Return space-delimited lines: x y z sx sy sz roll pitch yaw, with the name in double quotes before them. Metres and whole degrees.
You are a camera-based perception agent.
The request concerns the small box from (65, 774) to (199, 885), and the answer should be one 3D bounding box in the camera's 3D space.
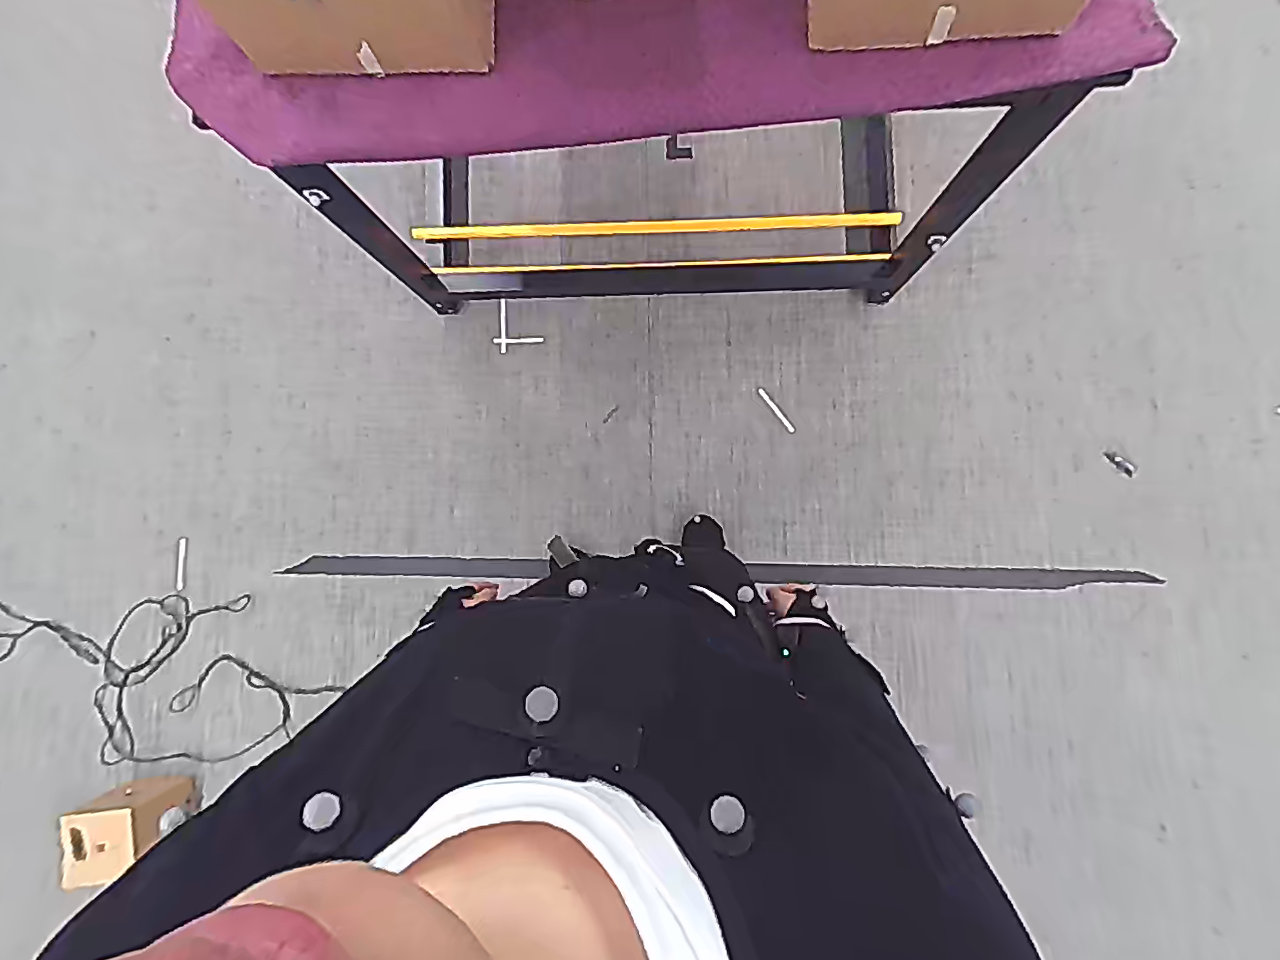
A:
"small box" -1.243 0.852 1.331 0.179 0.176 0.168 -7 87 3
